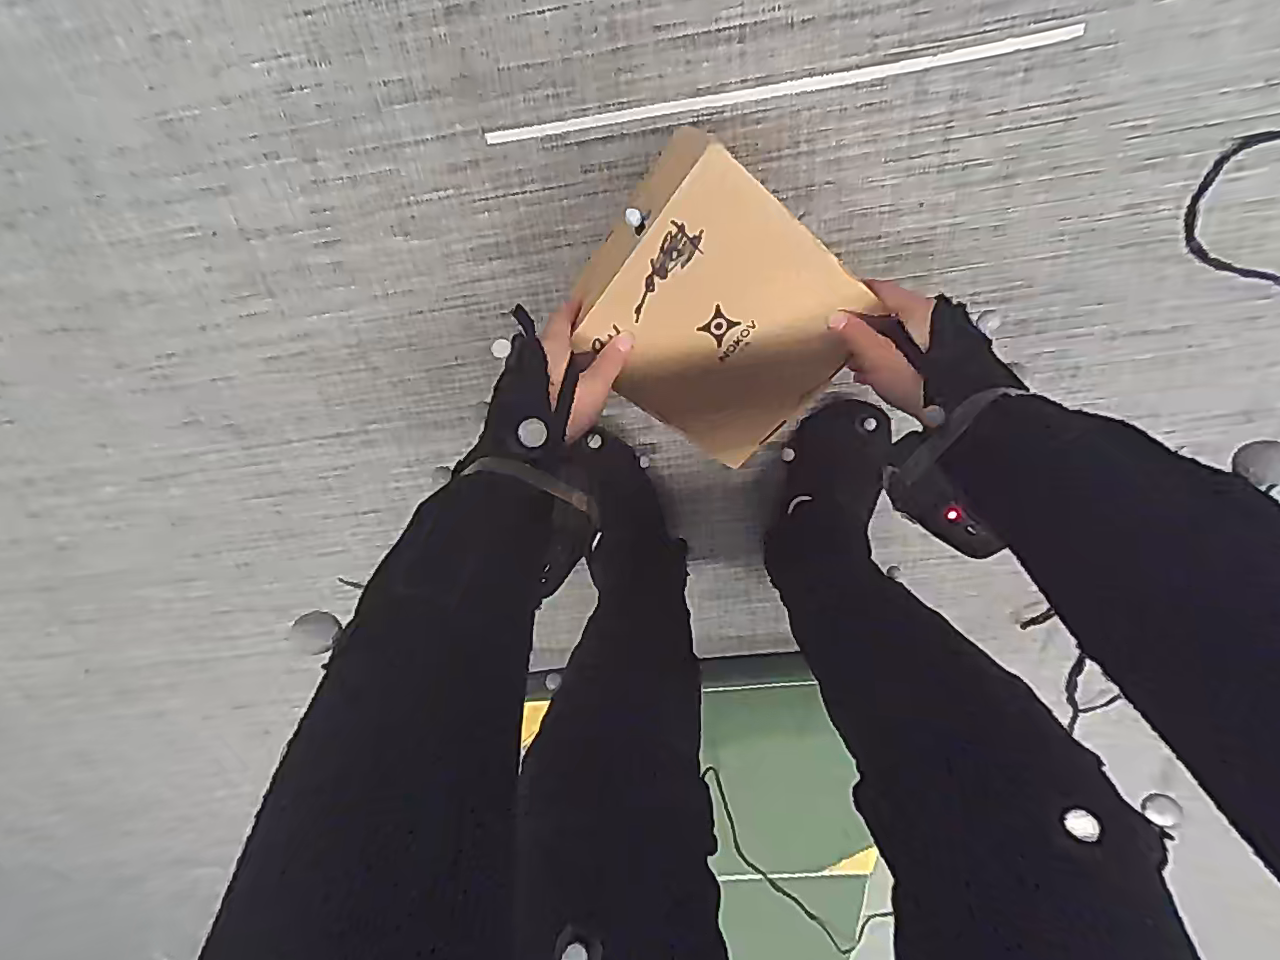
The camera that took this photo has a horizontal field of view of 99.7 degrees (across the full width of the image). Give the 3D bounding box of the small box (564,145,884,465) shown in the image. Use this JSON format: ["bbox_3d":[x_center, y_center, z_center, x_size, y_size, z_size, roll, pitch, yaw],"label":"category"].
[{"bbox_3d":[0.057,-0.151,0.453,0.179,0.176,0.168,32,117,-23],"label":"small box"}]
